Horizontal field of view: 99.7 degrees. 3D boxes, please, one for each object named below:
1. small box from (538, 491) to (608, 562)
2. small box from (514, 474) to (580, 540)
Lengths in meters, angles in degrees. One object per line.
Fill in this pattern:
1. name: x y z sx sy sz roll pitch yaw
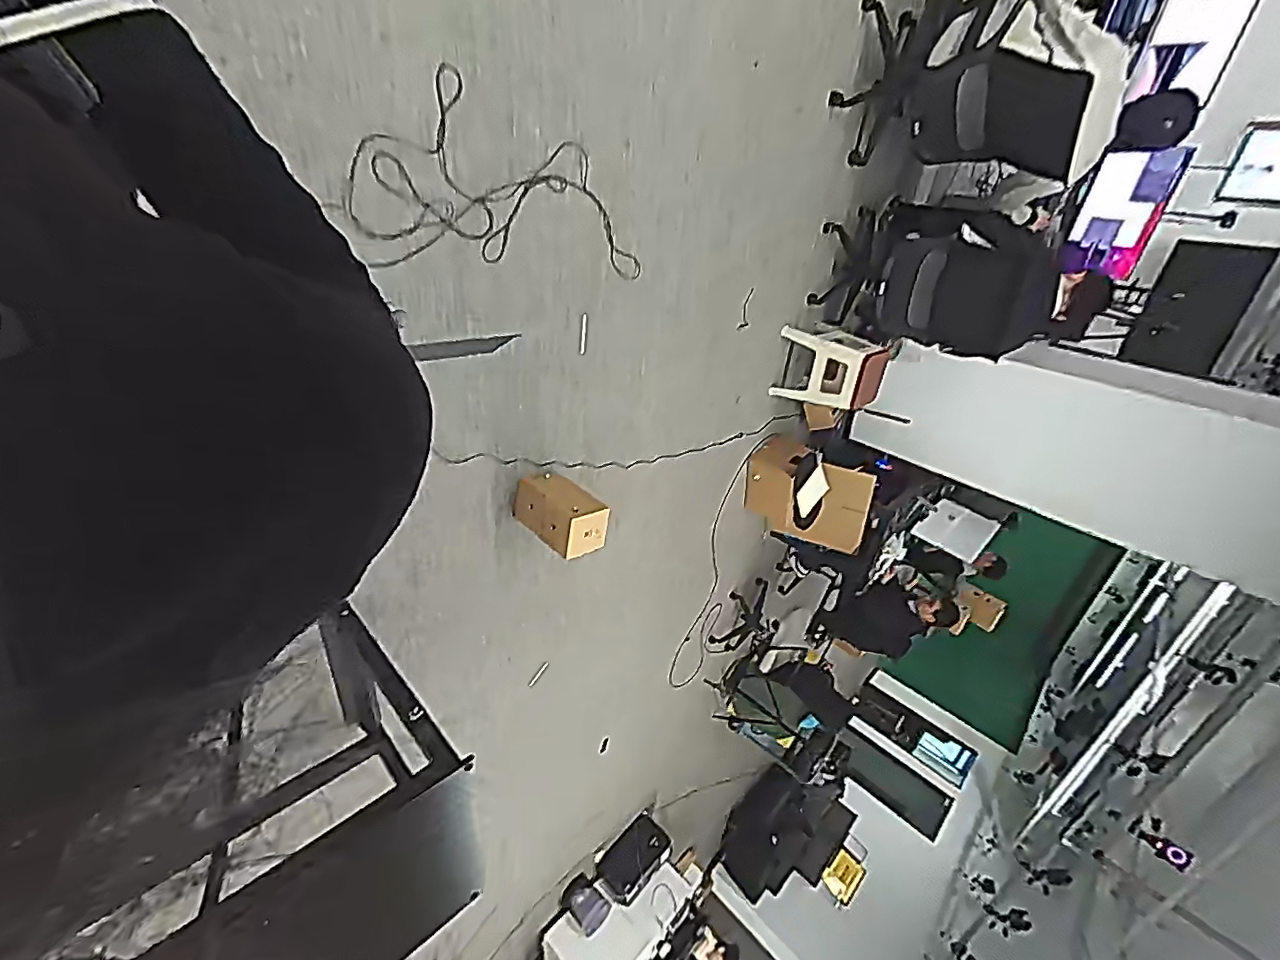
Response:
1. small box: -0.240 0.159 1.907 0.179 0.176 0.168 -16 126 -45
2. small box: -0.350 0.096 2.013 0.168 0.176 0.179 -13 122 -47
